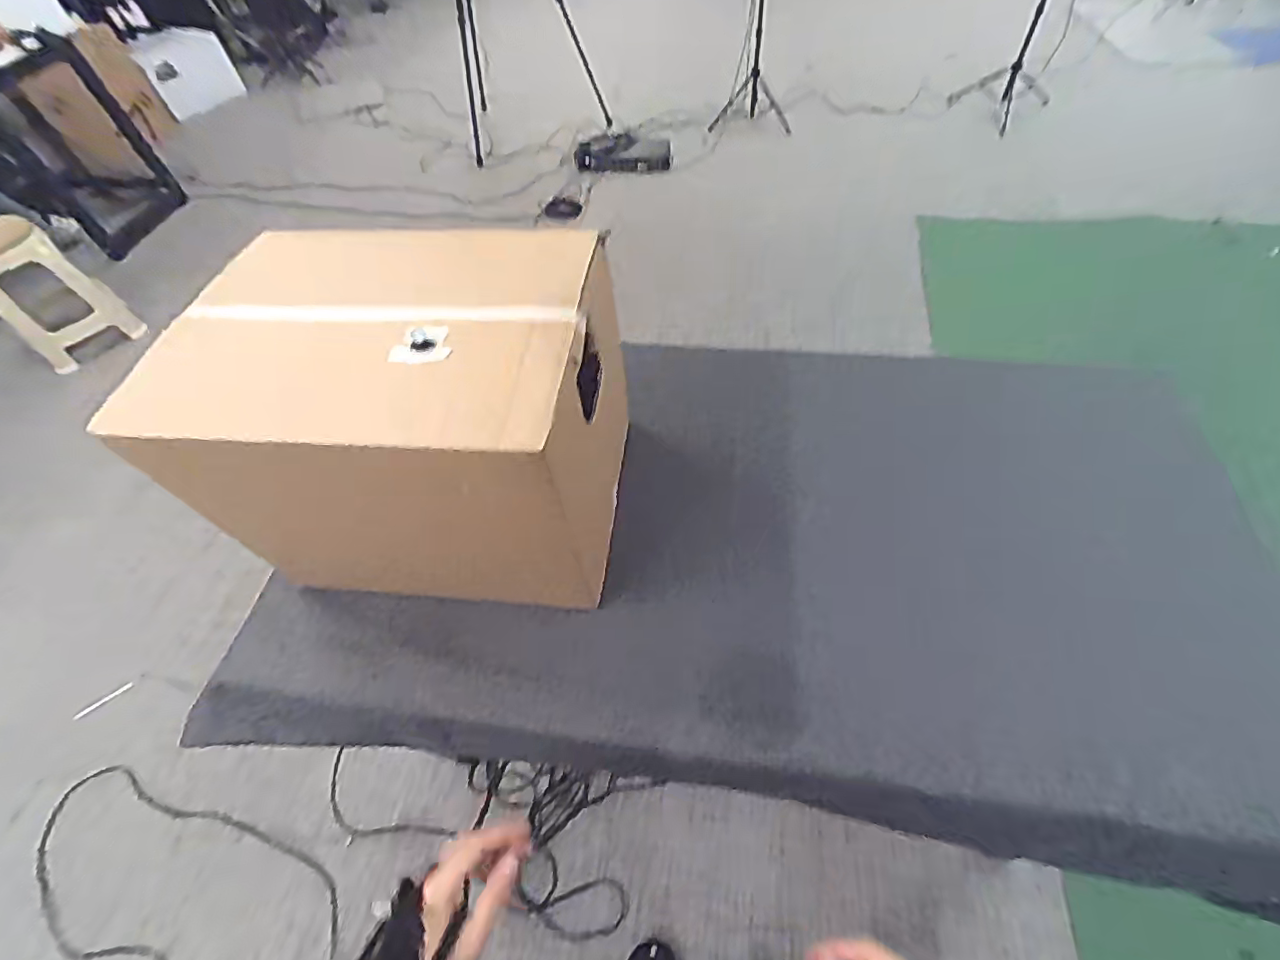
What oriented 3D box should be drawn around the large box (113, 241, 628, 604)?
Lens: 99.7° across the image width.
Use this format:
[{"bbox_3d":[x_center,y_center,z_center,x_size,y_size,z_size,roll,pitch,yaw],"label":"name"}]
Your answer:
[{"bbox_3d":[-0.235,-0.063,0.649,0.408,0.320,0.320,3,55,5],"label":"large box"}]
